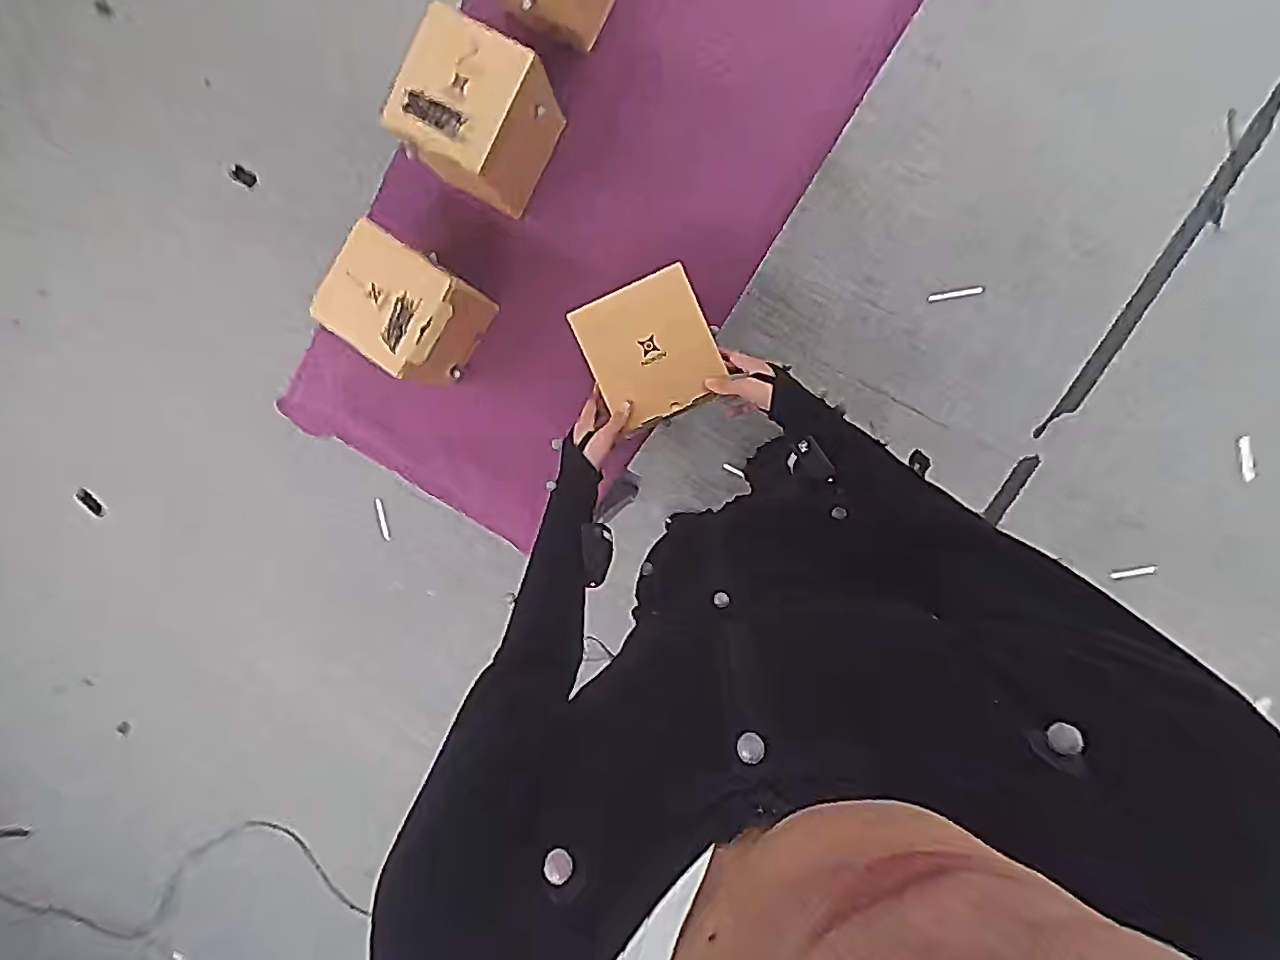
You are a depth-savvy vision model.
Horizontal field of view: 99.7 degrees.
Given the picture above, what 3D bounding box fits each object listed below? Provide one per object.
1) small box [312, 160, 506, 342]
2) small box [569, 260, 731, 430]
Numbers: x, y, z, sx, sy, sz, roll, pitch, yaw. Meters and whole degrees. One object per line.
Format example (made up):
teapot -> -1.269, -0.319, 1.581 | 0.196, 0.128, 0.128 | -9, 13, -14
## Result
small box -> -0.336, -0.329, 0.822 | 0.179, 0.176, 0.168 | 41, 97, 1
small box -> 0.011, -0.180, 0.777 | 0.168, 0.176, 0.179 | -23, 95, 1
